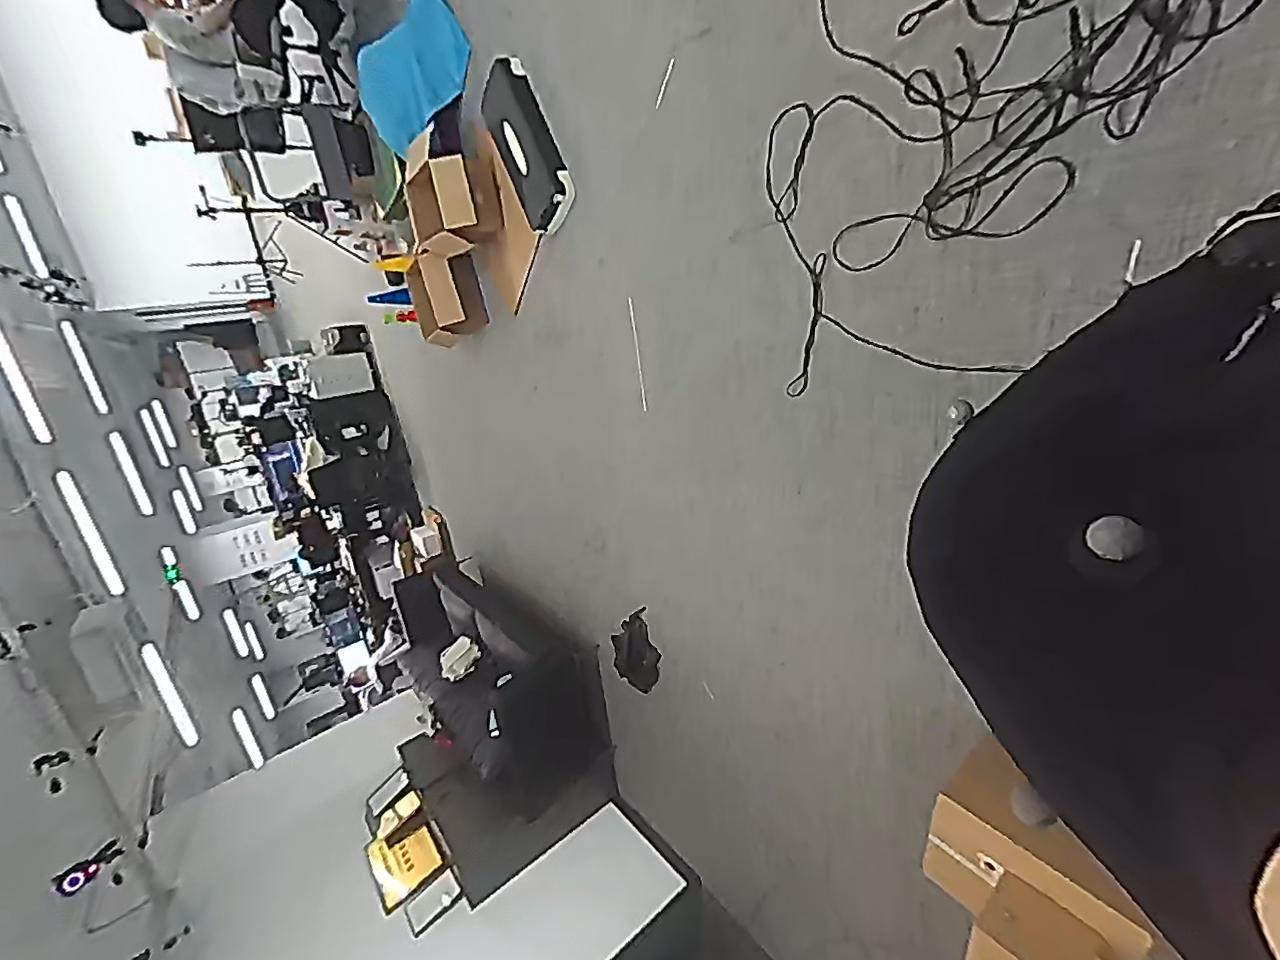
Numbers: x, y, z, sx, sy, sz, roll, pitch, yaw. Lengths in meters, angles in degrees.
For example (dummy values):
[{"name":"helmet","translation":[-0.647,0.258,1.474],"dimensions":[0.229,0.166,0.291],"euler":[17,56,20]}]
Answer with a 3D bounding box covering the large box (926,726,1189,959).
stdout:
[{"name":"large box","translation":[0.987,0.900,1.312],"dimensions":[0.408,0.320,0.320],"euler":[25,125,48]}]
